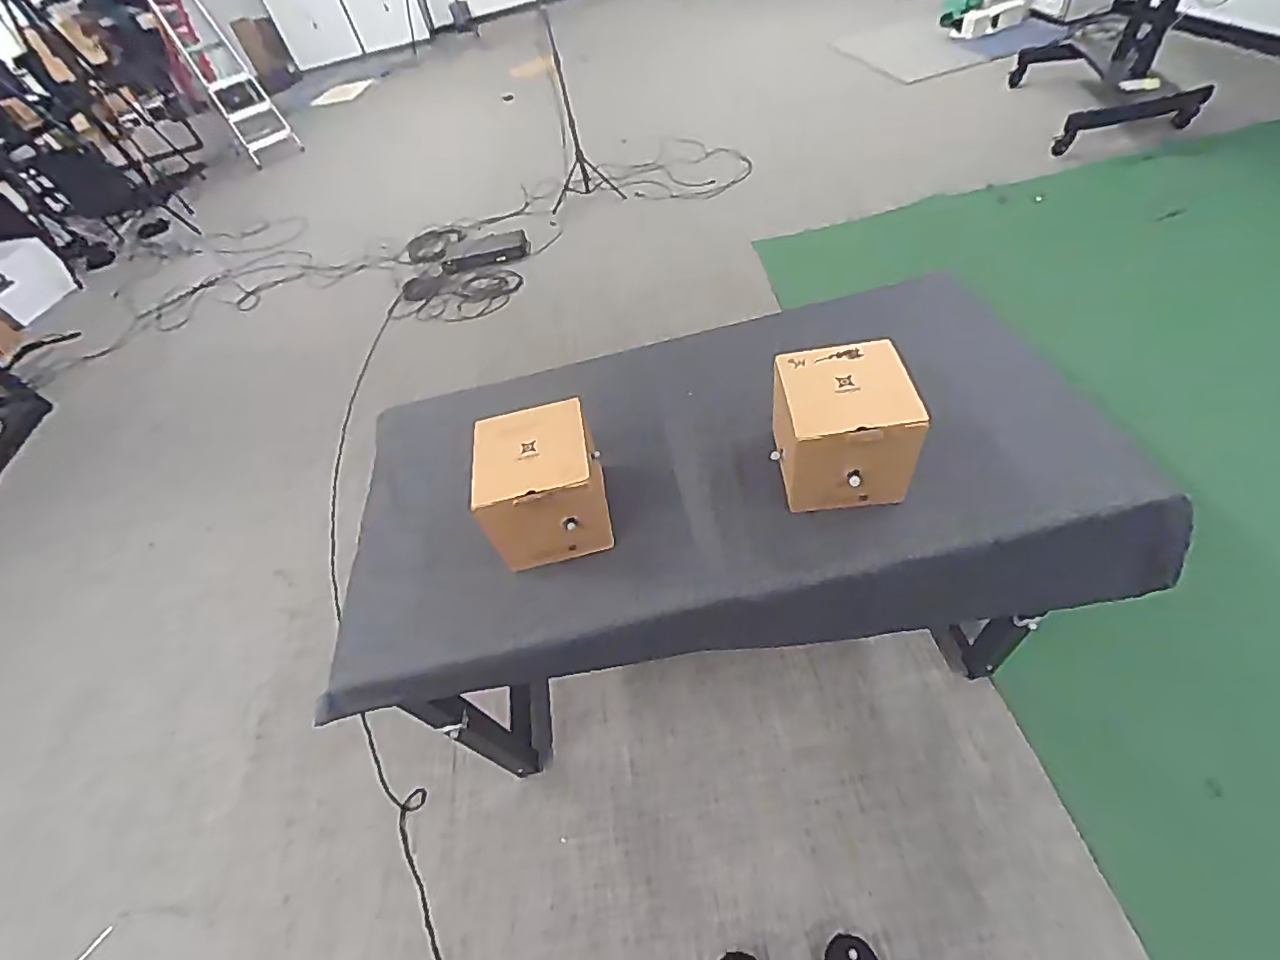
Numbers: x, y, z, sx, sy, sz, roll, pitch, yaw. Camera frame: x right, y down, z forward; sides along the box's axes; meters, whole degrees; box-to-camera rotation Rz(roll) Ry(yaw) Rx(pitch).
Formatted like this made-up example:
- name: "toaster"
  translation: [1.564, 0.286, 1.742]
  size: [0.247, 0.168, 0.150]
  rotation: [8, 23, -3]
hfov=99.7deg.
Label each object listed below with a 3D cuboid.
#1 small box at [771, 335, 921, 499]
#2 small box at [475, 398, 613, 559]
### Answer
- name: "small box"
  translation: [0.293, -0.084, 0.807]
  size: [0.168, 0.176, 0.179]
  rotation: [-7, 52, 8]
- name: "small box"
  translation: [-0.145, 0.005, 0.844]
  size: [0.168, 0.176, 0.179]
  rotation: [-14, 49, 0]
